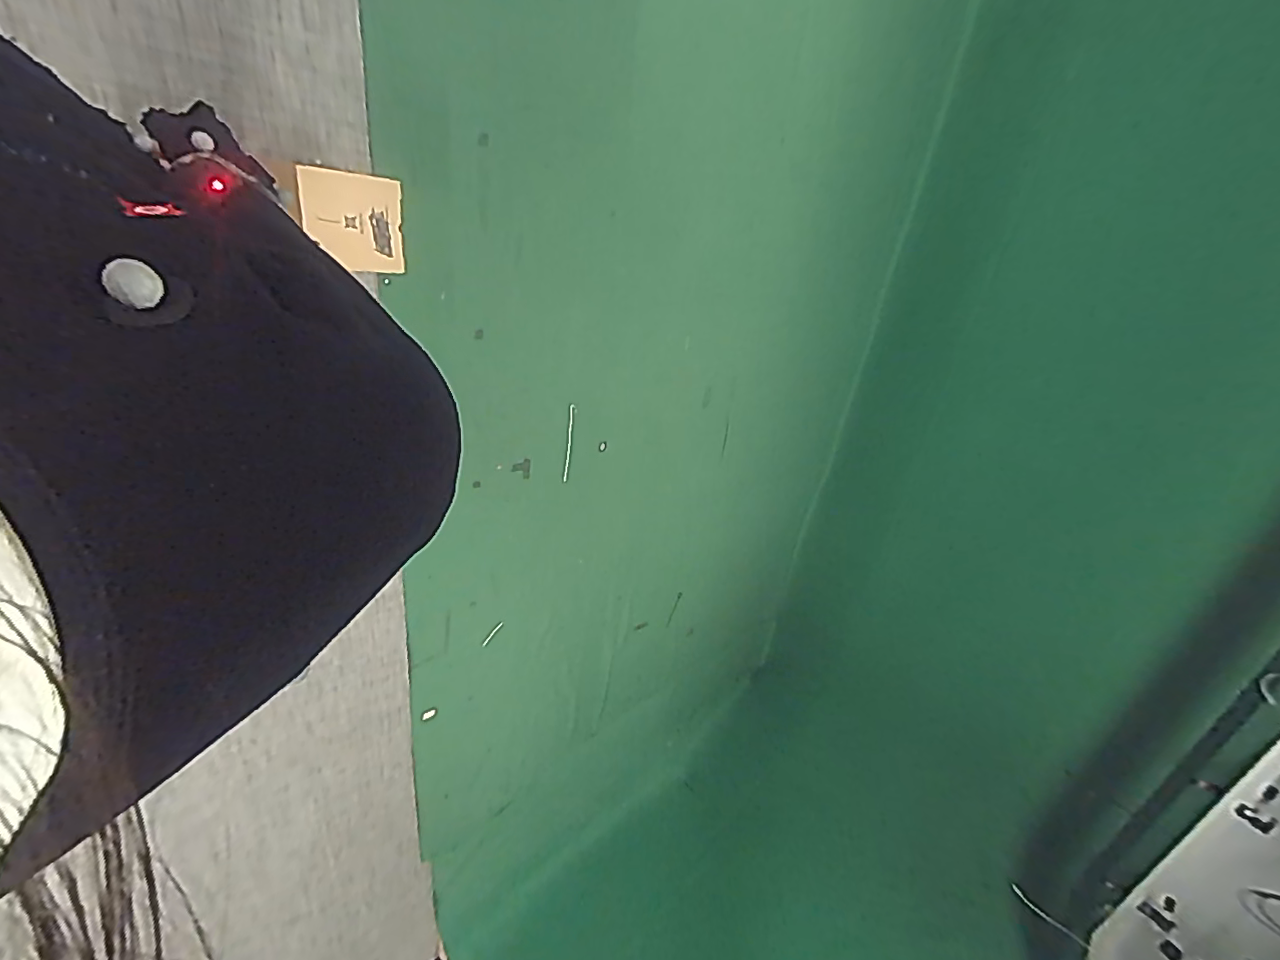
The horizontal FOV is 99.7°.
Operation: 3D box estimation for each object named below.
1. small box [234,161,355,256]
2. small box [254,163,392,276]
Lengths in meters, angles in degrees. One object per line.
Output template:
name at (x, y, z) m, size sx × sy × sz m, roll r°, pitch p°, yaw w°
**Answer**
small box at (-0.701, -0.554, 1.119) m, size 0.179 × 0.176 × 0.168 m, roll -19°, pitch 126°, yaw -42°
small box at (-0.591, -0.487, 1.015) m, size 0.179 × 0.176 × 0.168 m, roll -16°, pitch 124°, yaw -44°
